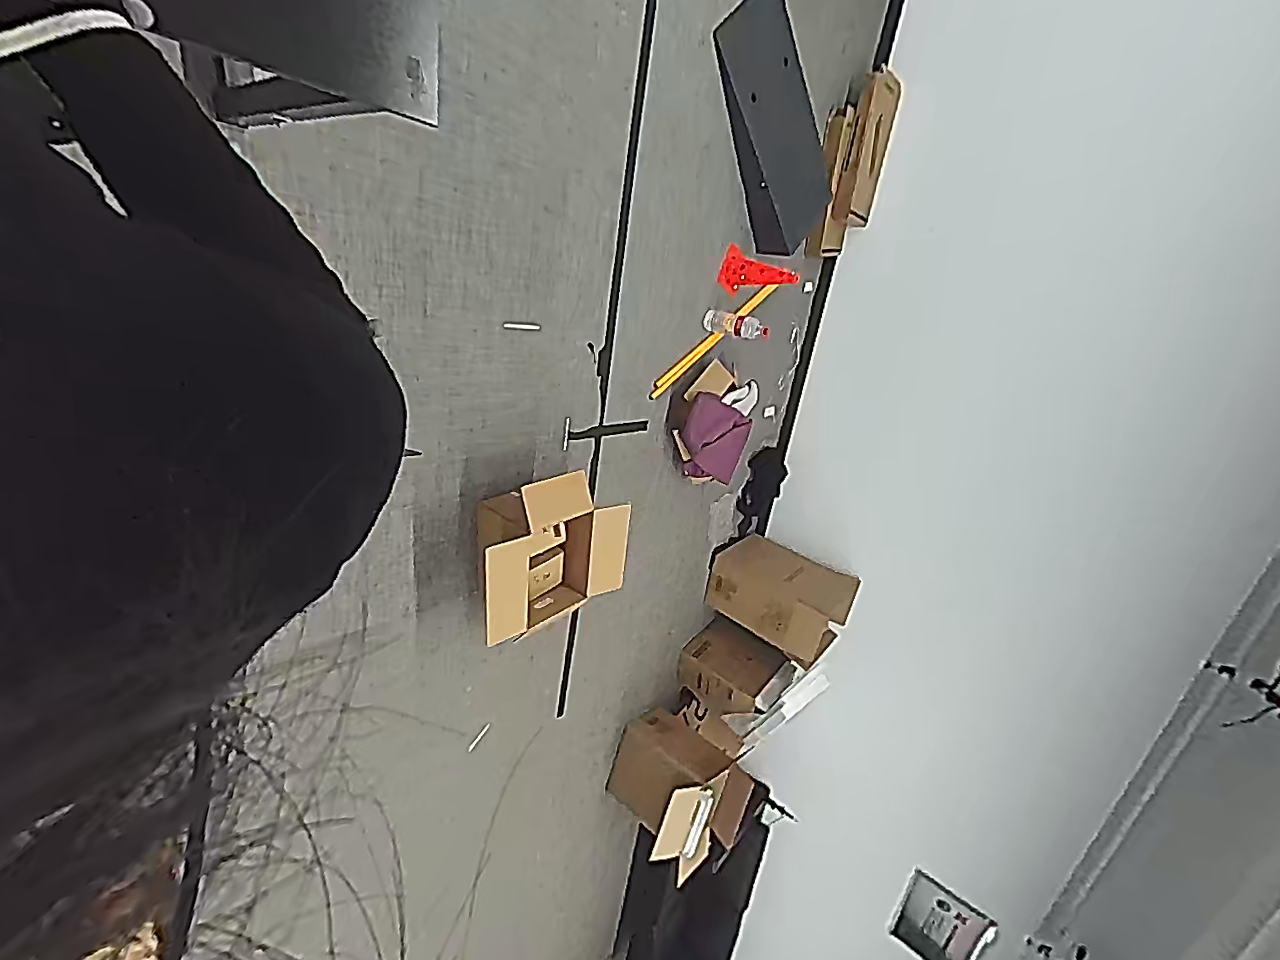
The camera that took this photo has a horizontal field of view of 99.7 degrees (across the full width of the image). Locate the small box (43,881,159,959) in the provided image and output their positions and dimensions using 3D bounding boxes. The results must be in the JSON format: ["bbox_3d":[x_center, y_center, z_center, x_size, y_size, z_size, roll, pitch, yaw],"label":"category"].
[{"bbox_3d":[-1.340,1.164,1.346,0.179,0.176,0.168,-12,117,-48],"label":"small box"}]
